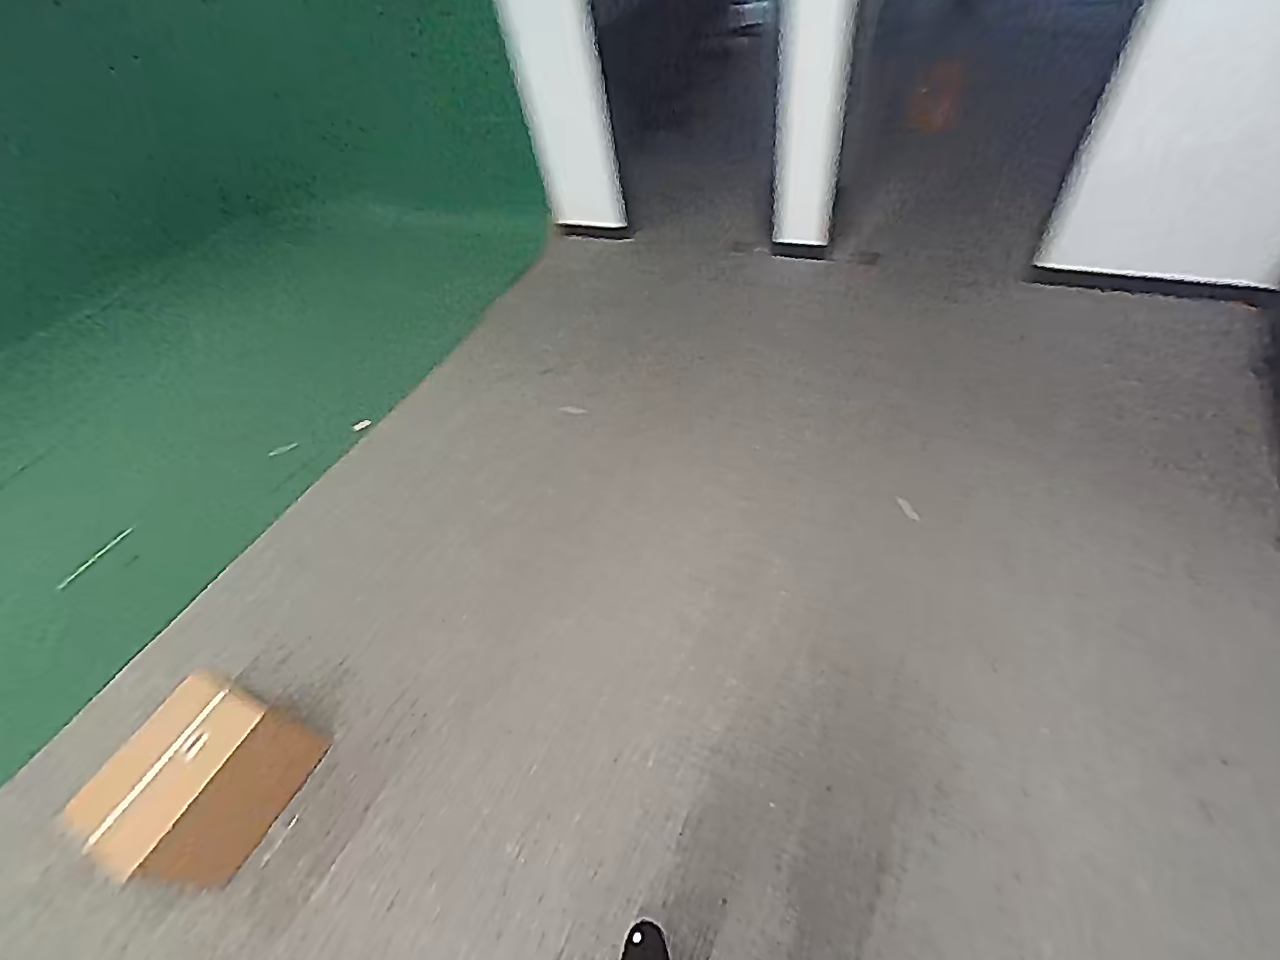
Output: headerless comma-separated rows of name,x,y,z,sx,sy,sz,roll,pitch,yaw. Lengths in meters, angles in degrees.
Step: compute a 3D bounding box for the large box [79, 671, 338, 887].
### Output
large box,-1.162,0.824,1.503,0.320,0.320,0.408,16,55,22
